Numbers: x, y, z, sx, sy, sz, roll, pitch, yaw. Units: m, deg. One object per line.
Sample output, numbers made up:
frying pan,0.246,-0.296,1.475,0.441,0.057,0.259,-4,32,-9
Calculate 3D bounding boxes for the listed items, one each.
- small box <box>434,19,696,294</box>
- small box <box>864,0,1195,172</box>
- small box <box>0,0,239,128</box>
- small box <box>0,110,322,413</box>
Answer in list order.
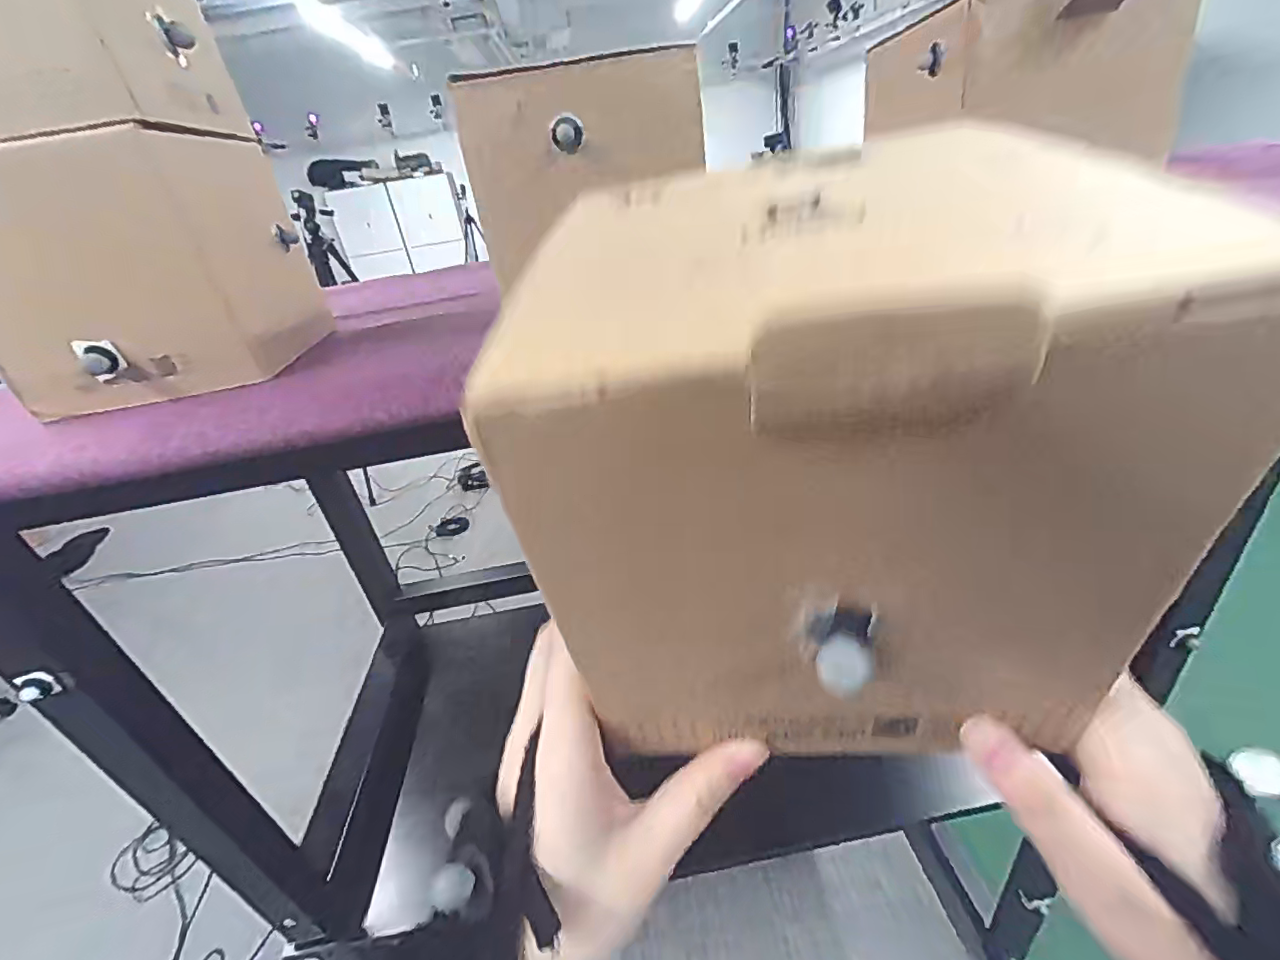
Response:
small box,-0.048,-0.255,0.466,0.179,0.176,0.168,-10,29,-1
small box,0.307,-0.322,0.469,0.168,0.176,0.179,-11,28,1
small box,-0.416,-0.310,0.343,0.179,0.176,0.168,-14,31,-5
small box,-0.385,-0.170,0.425,0.168,0.176,0.179,-14,31,-5
